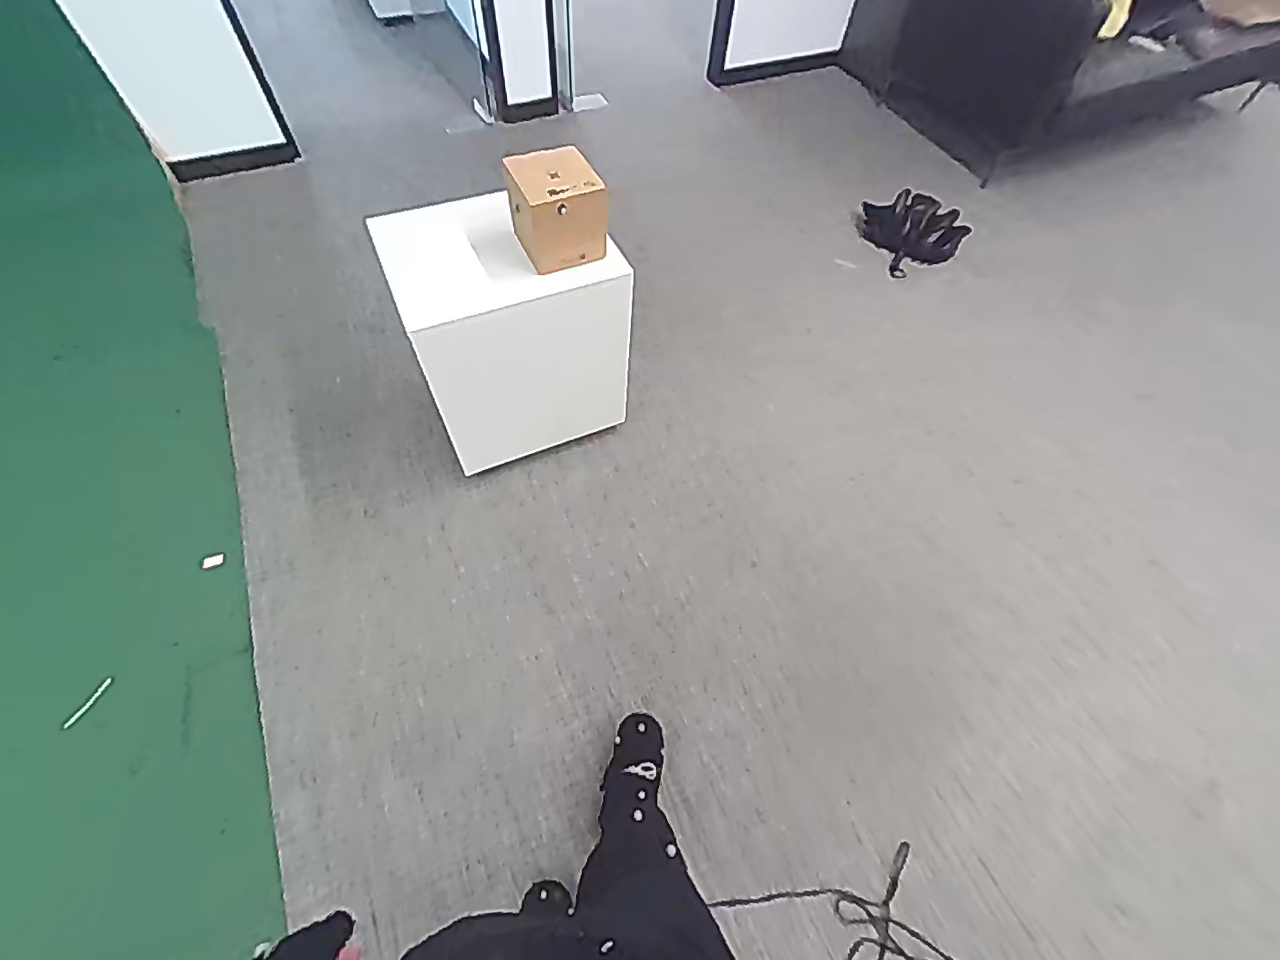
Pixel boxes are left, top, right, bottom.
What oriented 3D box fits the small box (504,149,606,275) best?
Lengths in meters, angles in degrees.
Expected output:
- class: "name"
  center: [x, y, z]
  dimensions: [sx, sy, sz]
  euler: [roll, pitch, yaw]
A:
- class: "small box"
  center: [-0.184, -0.585, 1.186]
  dimensions: [0.168, 0.176, 0.179]
  euler: [-22, 62, -15]
